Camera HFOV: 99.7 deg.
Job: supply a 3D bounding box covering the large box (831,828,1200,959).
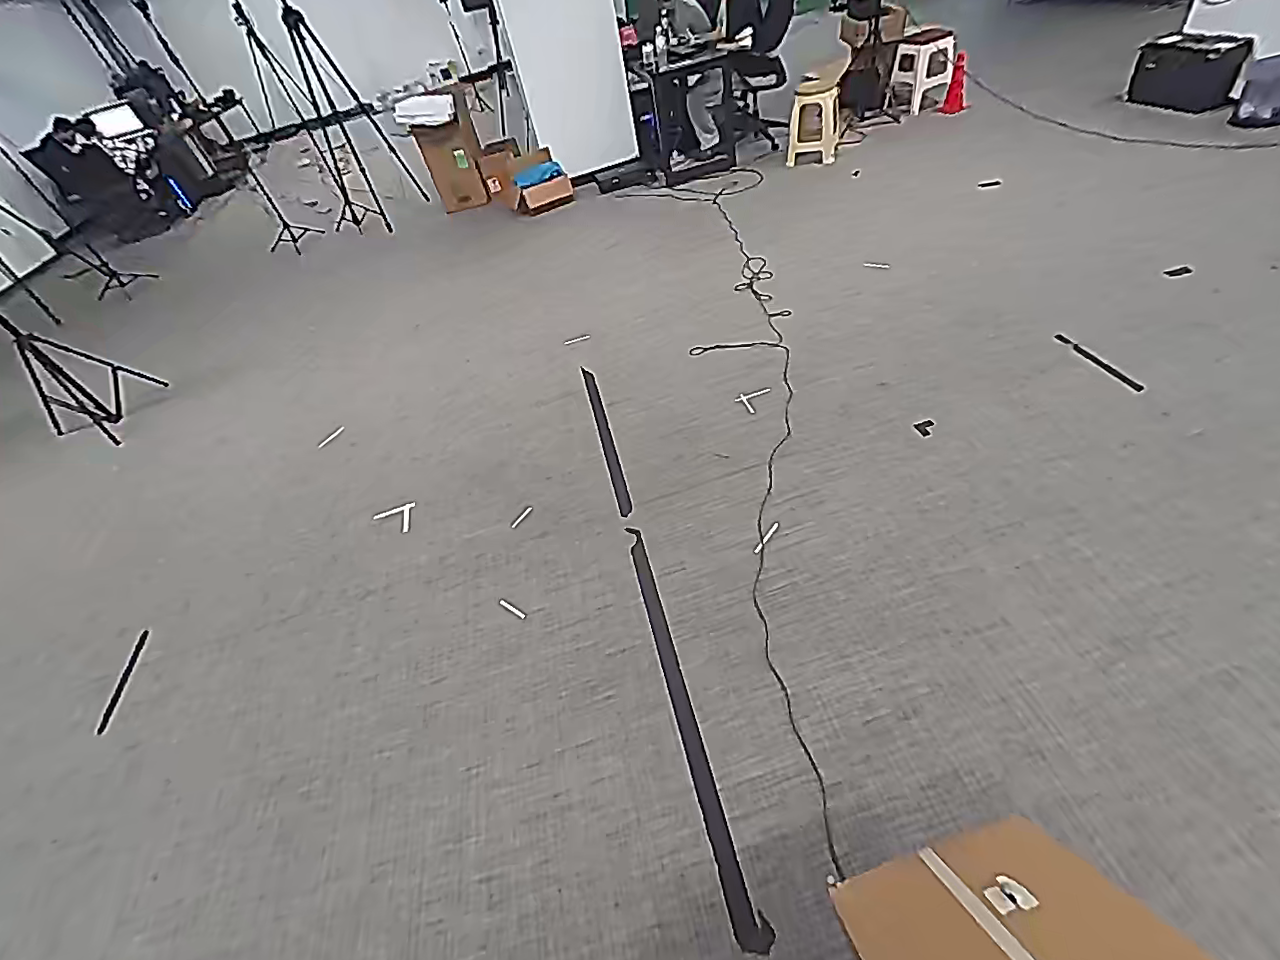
[{"bbox_3d":[0.479,0.690,0.598,0.320,0.408,0.320,-18,83,-2],"label":"large box"}]
